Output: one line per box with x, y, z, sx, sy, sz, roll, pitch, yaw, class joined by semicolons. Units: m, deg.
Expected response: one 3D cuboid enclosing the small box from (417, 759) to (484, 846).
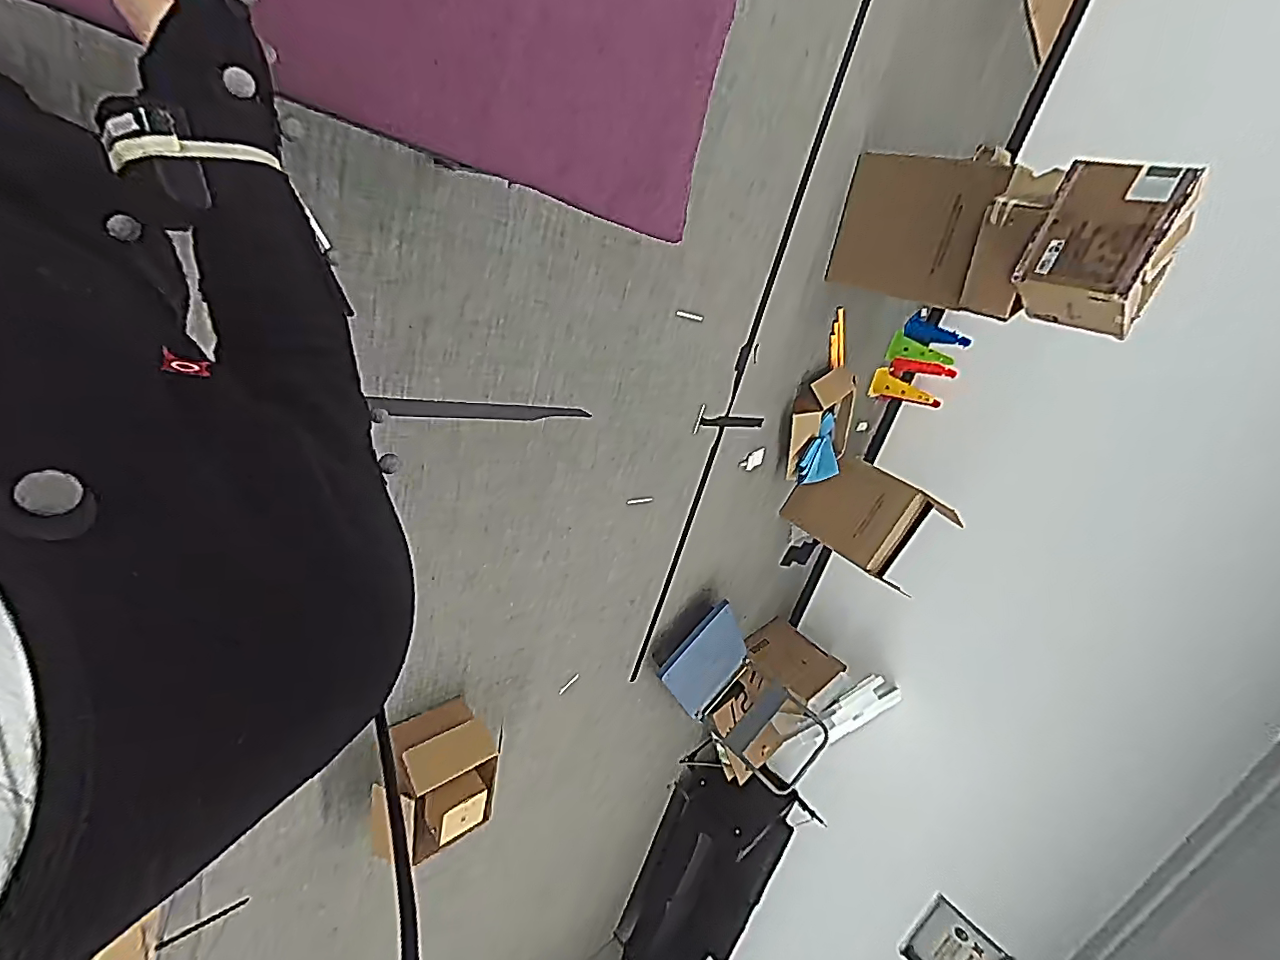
-0.689;1.156;1.953;0.168;0.176;0.179;-10;122;-45;small box
